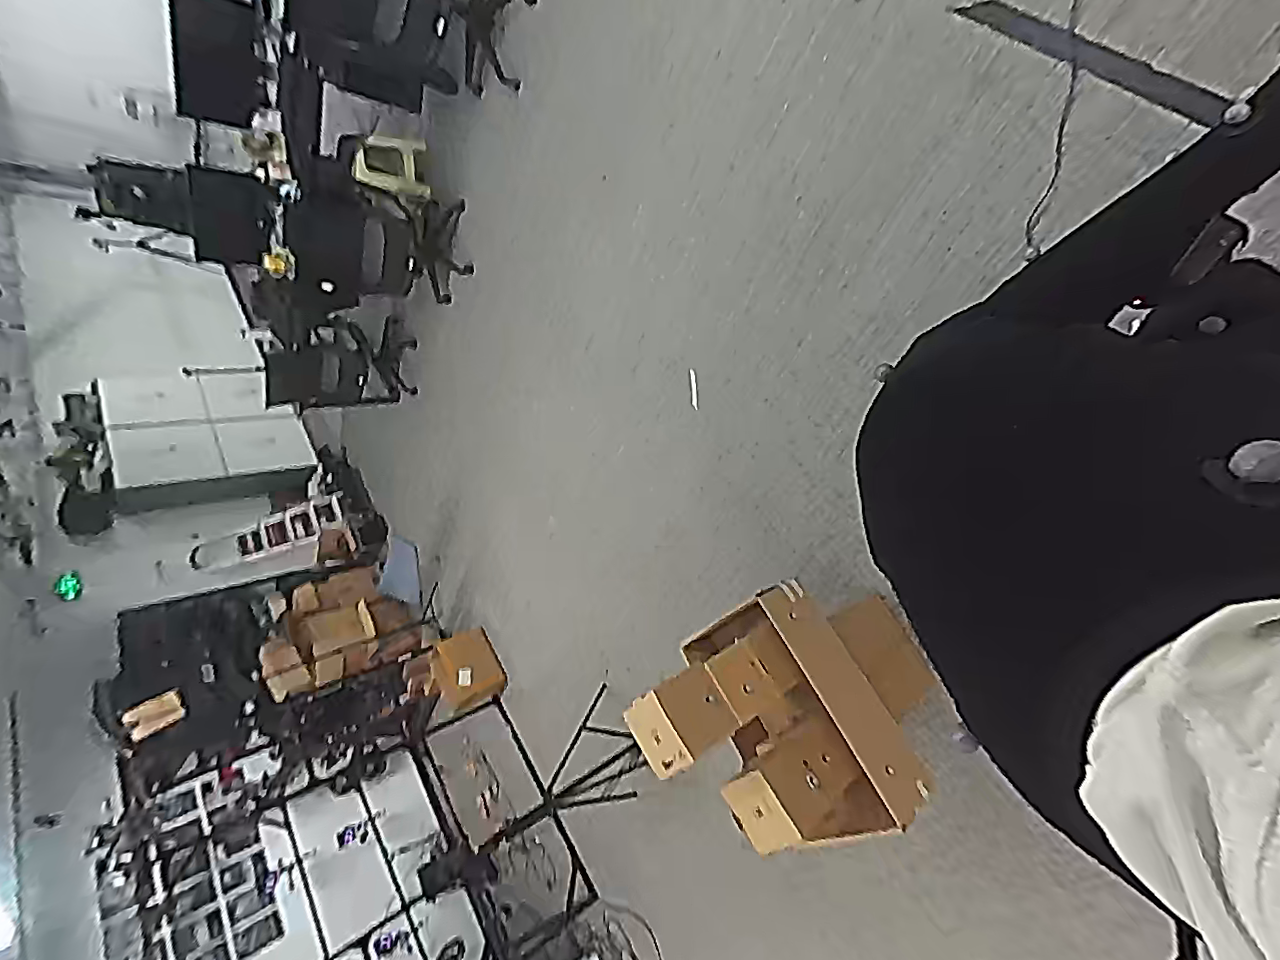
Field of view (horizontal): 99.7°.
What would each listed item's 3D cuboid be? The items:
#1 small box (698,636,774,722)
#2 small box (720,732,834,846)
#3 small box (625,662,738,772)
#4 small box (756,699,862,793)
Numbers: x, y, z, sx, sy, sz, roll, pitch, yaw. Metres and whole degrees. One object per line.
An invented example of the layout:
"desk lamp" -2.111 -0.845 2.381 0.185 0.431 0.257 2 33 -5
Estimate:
"small box" 0.222 0.533 1.410 0.168 0.176 0.179 58 136 20
"small box" 0.339 0.760 1.336 0.168 0.176 0.179 54 134 21
"small box" 0.100 0.562 1.305 0.179 0.176 0.168 57 136 22
"small box" 0.456 0.723 1.448 0.179 0.176 0.168 58 135 22
